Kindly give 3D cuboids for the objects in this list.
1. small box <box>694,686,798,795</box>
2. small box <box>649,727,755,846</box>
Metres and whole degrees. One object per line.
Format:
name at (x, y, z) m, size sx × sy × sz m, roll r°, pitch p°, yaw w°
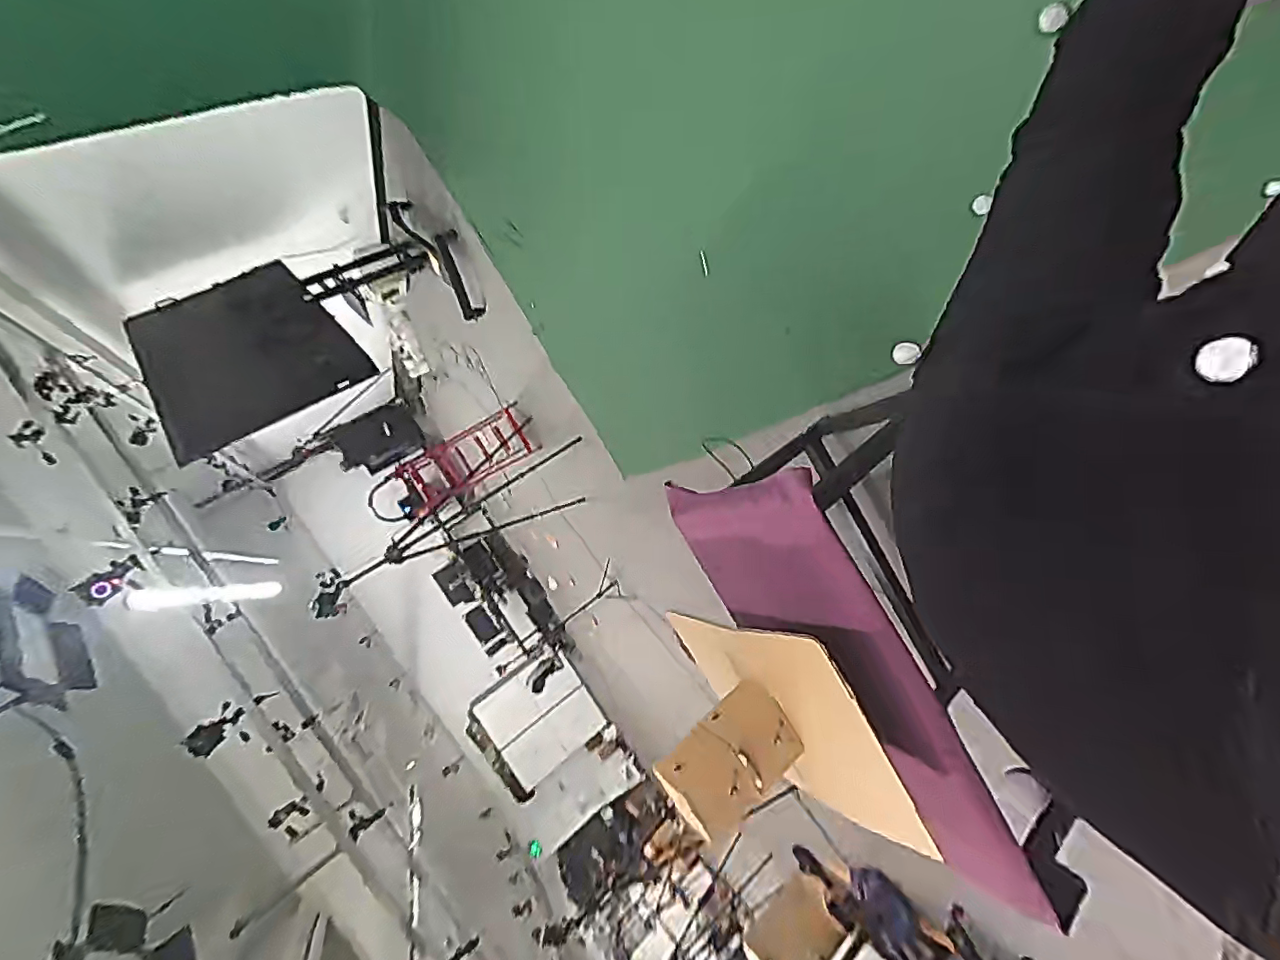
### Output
small box at (0.282, 0.679, 1.434) m, size 0.168 × 0.176 × 0.179 m, roll 59°, pitch 157°, yaw -8°
small box at (0.158, 0.763, 1.371) m, size 0.168 × 0.176 × 0.179 m, roll 59°, pitch 157°, yaw -6°
